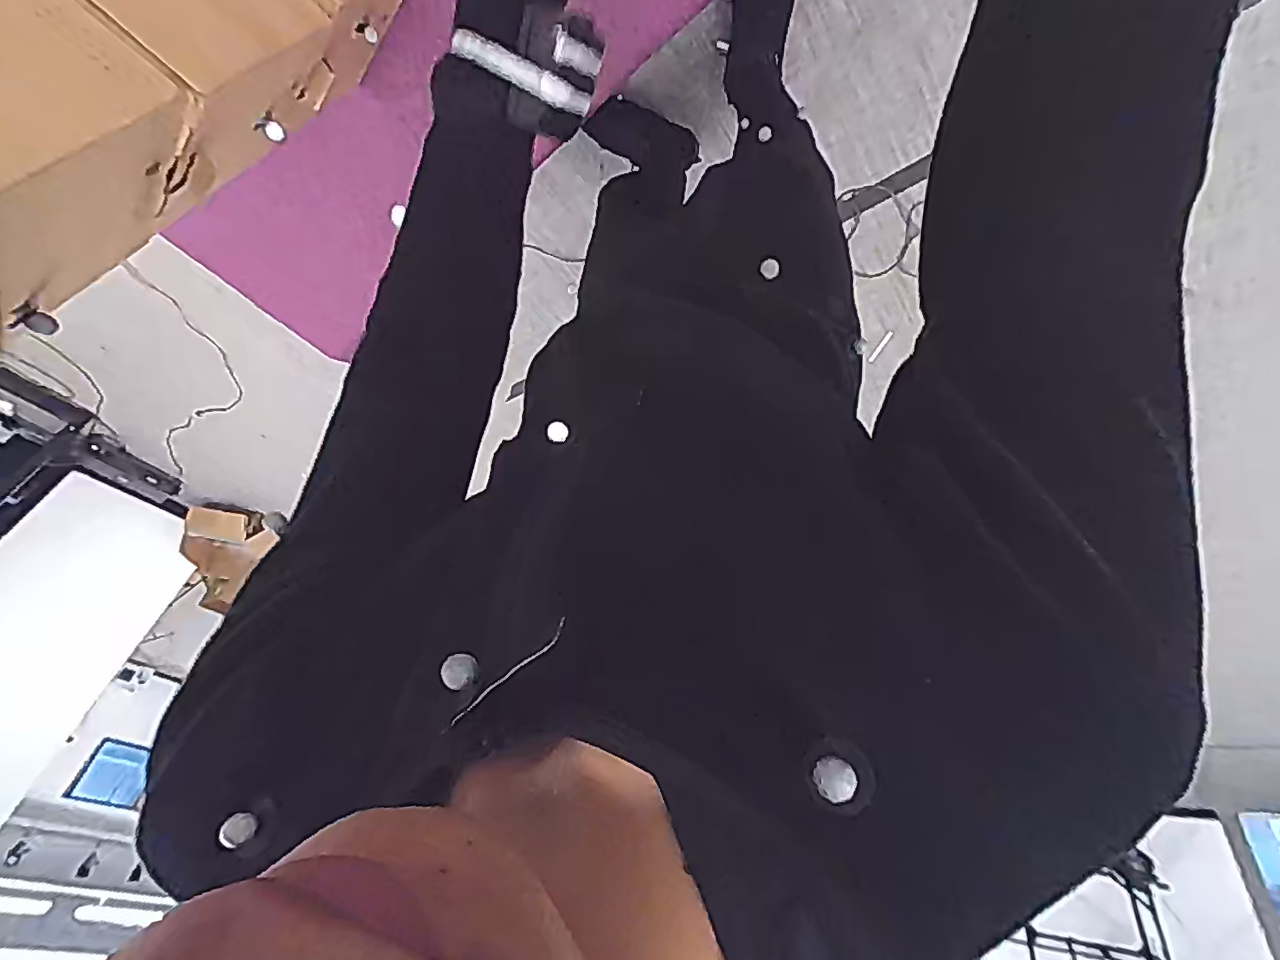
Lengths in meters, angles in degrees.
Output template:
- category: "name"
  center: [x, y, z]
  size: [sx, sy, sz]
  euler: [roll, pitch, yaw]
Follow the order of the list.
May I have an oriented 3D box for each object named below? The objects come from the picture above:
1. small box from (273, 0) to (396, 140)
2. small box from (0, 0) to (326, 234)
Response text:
- category: "small box"
  center: [-0.336, -0.460, 0.475]
  size: [0.168, 0.176, 0.179]
  euler: [-23, 131, 38]
- category: "small box"
  center: [-0.374, -0.327, 0.385]
  size: [0.168, 0.176, 0.179]
  euler: [-20, 133, 37]
